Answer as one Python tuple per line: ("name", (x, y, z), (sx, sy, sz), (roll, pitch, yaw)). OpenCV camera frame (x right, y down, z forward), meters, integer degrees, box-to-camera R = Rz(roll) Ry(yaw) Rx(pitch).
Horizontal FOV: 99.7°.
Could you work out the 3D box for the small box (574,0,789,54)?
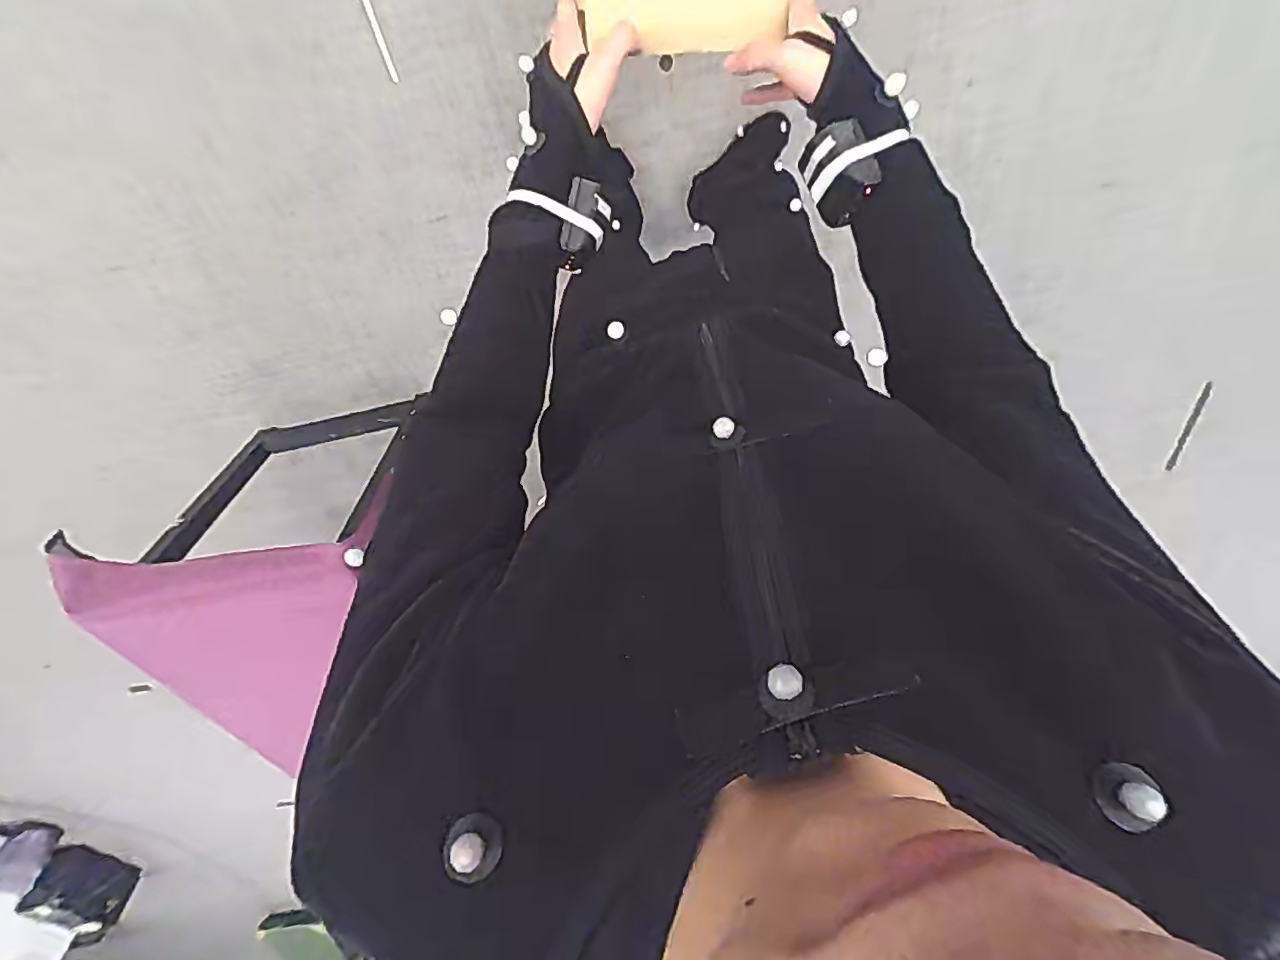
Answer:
("small box", (0.027, -0.474, 0.465), (0.179, 0.176, 0.168), (-5, 130, -3))
